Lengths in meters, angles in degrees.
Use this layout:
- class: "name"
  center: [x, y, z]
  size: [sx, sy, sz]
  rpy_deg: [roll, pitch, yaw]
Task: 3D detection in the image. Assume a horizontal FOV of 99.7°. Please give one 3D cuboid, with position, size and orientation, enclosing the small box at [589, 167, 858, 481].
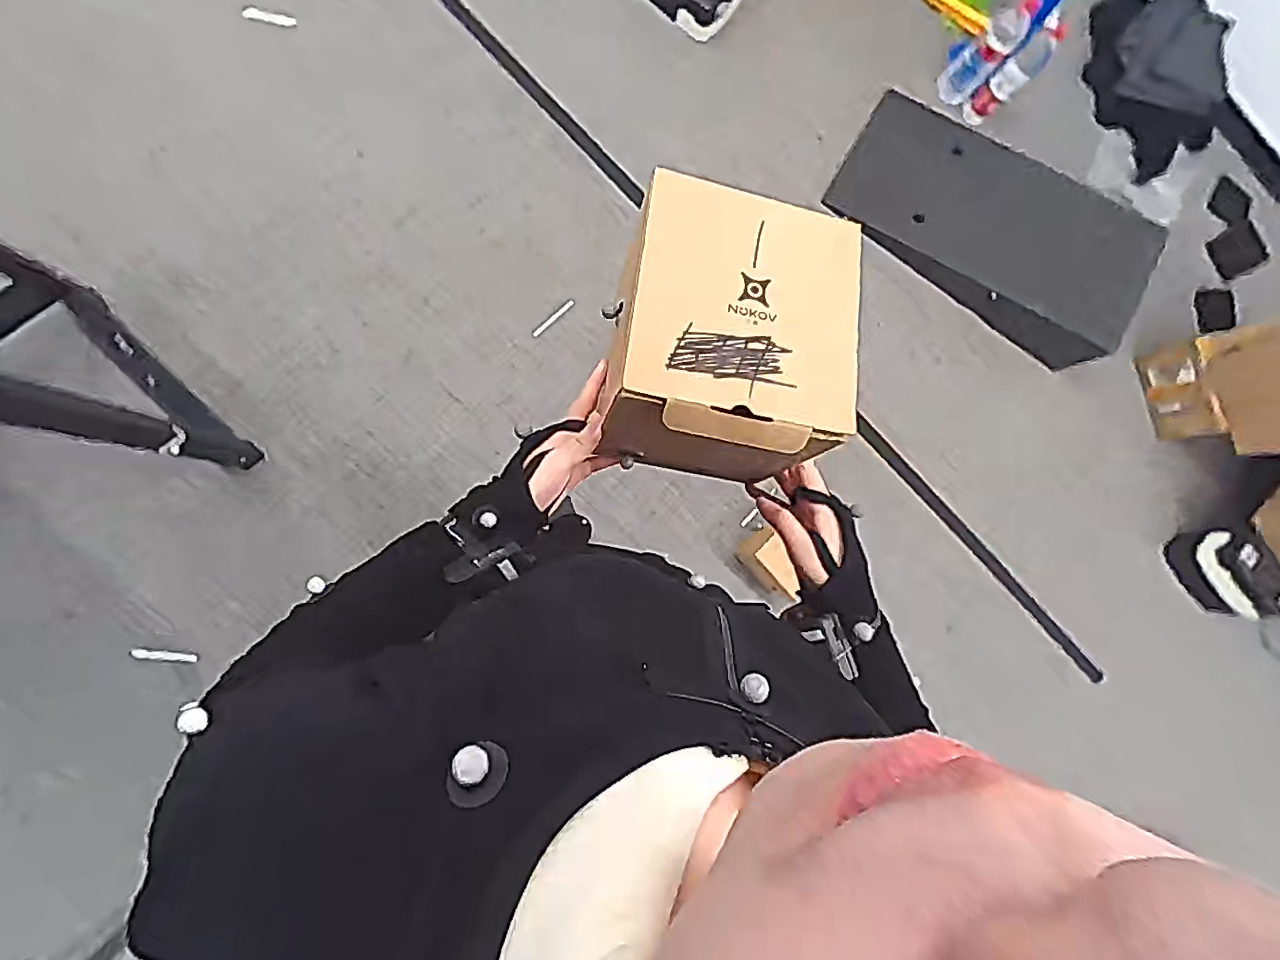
- class: "small box"
  center: [0.056, -0.106, 0.447]
  size: [0.168, 0.176, 0.179]
  rpy_deg: [10, 76, -10]

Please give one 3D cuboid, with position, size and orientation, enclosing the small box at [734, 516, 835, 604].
- class: "small box"
  center: [0.394, 0.214, 1.499]
  size: [0.168, 0.176, 0.179]
  rpy_deg: [-42, 94, -11]
